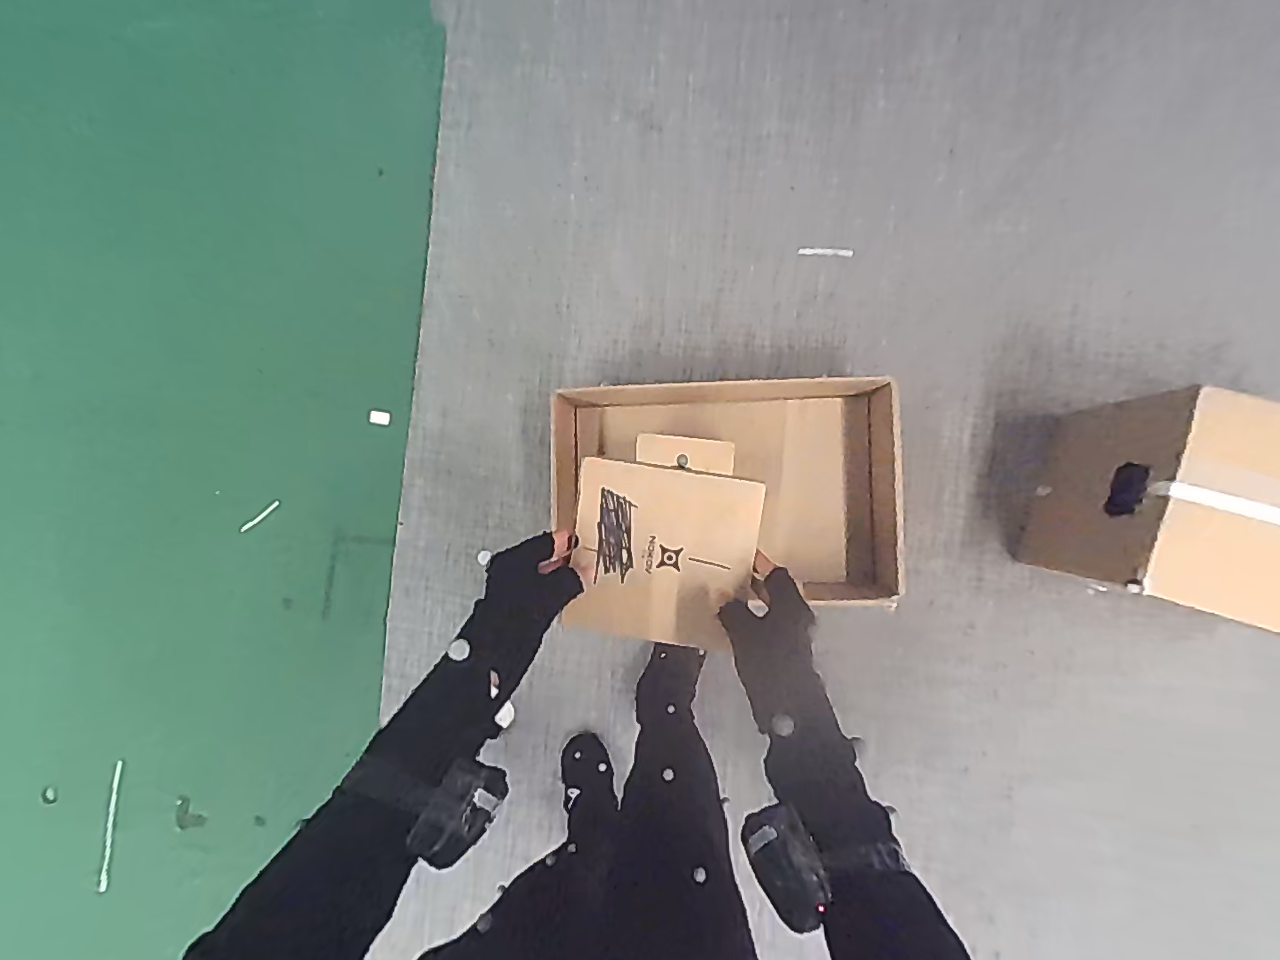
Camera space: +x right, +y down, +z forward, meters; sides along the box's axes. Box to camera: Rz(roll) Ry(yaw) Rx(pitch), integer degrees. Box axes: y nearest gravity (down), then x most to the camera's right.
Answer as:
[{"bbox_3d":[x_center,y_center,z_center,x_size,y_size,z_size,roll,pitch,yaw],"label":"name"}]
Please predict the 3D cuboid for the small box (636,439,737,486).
[{"bbox_3d":[0.084,0.018,1.030,0.179,0.176,0.168,5,90,5],"label":"small box"}]

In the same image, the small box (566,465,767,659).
[{"bbox_3d":[0.028,0.079,0.599,0.179,0.176,0.168,8,91,2],"label":"small box"}]
